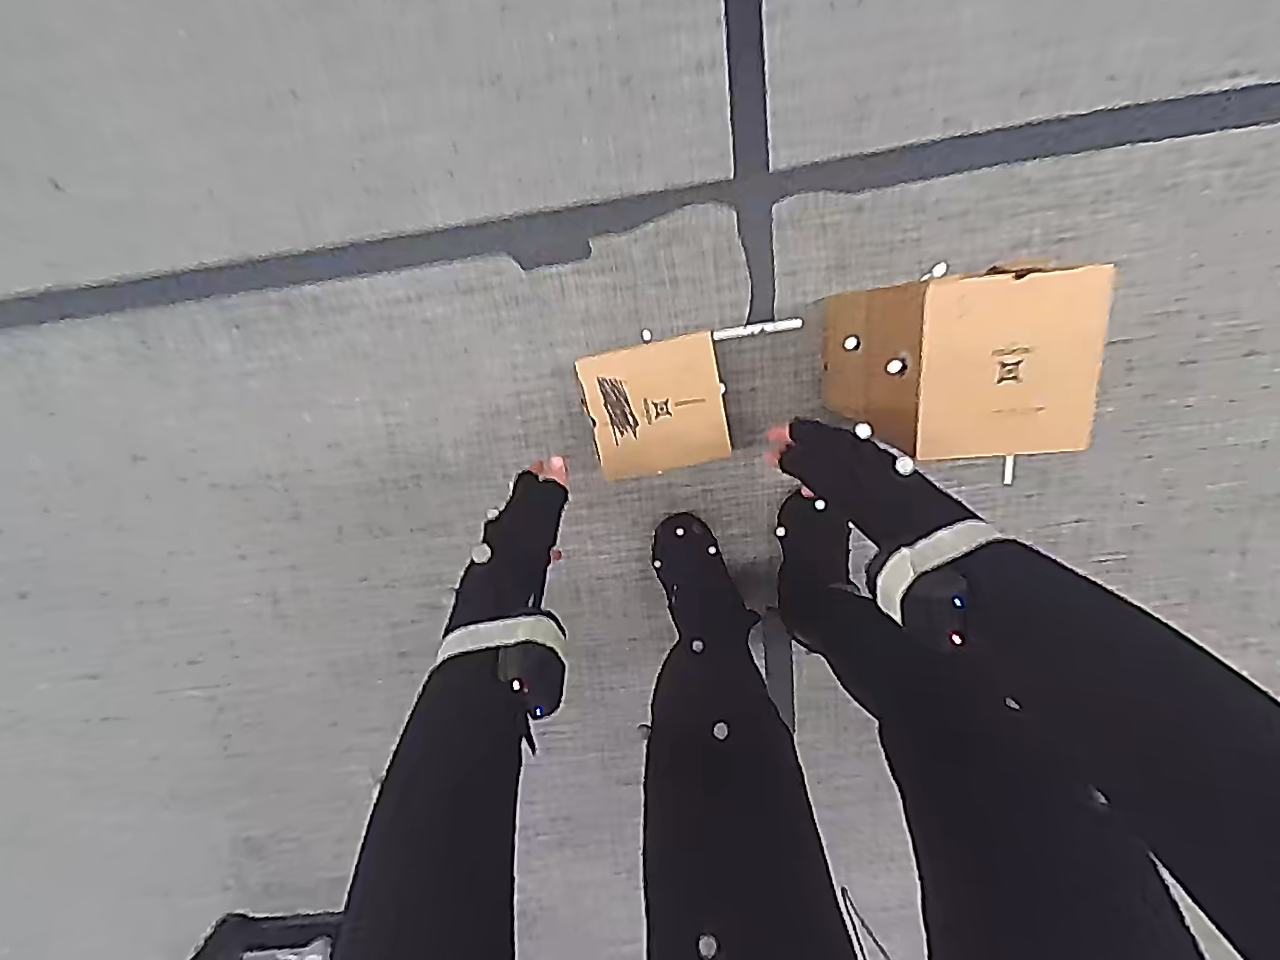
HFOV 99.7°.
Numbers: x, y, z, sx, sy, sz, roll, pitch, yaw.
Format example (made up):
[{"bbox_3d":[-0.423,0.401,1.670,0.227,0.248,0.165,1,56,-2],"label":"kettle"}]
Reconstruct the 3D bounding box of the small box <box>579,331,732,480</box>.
[{"bbox_3d":[0.024,-0.112,0.773,0.179,0.176,0.168,-12,105,4],"label":"small box"}]

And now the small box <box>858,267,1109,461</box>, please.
[{"bbox_3d":[0.352,-0.128,0.593,0.168,0.176,0.179,-3,107,3],"label":"small box"}]

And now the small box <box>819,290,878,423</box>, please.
[{"bbox_3d":[0.364,-0.176,0.748,0.179,0.176,0.168,-3,105,1],"label":"small box"}]
